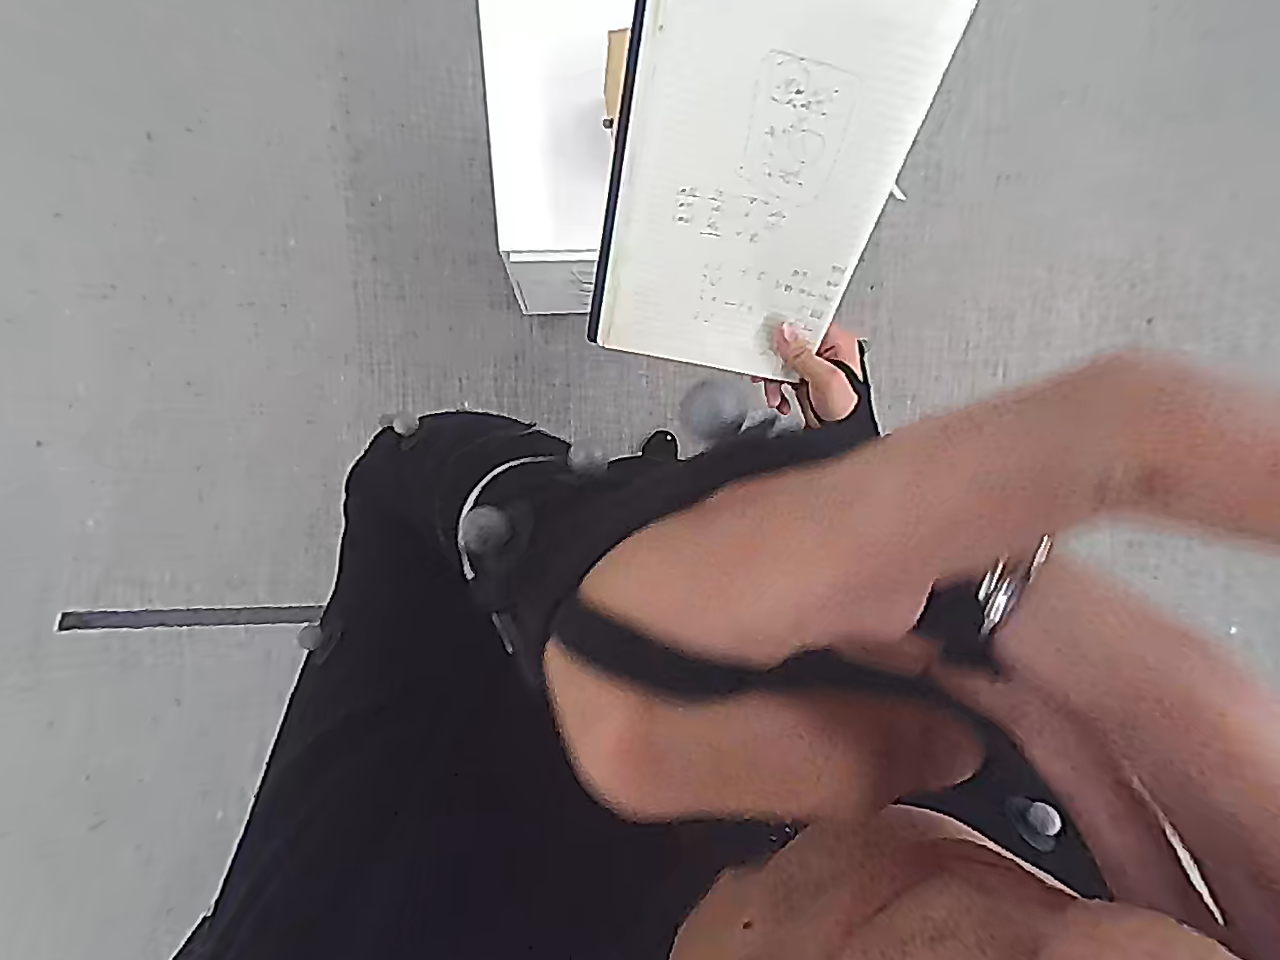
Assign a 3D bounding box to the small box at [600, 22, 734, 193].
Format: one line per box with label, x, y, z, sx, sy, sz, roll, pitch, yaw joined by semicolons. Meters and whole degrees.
small box;0.038;-0.608;0.902;0.179;0.176;0.168;-13;96;-6
